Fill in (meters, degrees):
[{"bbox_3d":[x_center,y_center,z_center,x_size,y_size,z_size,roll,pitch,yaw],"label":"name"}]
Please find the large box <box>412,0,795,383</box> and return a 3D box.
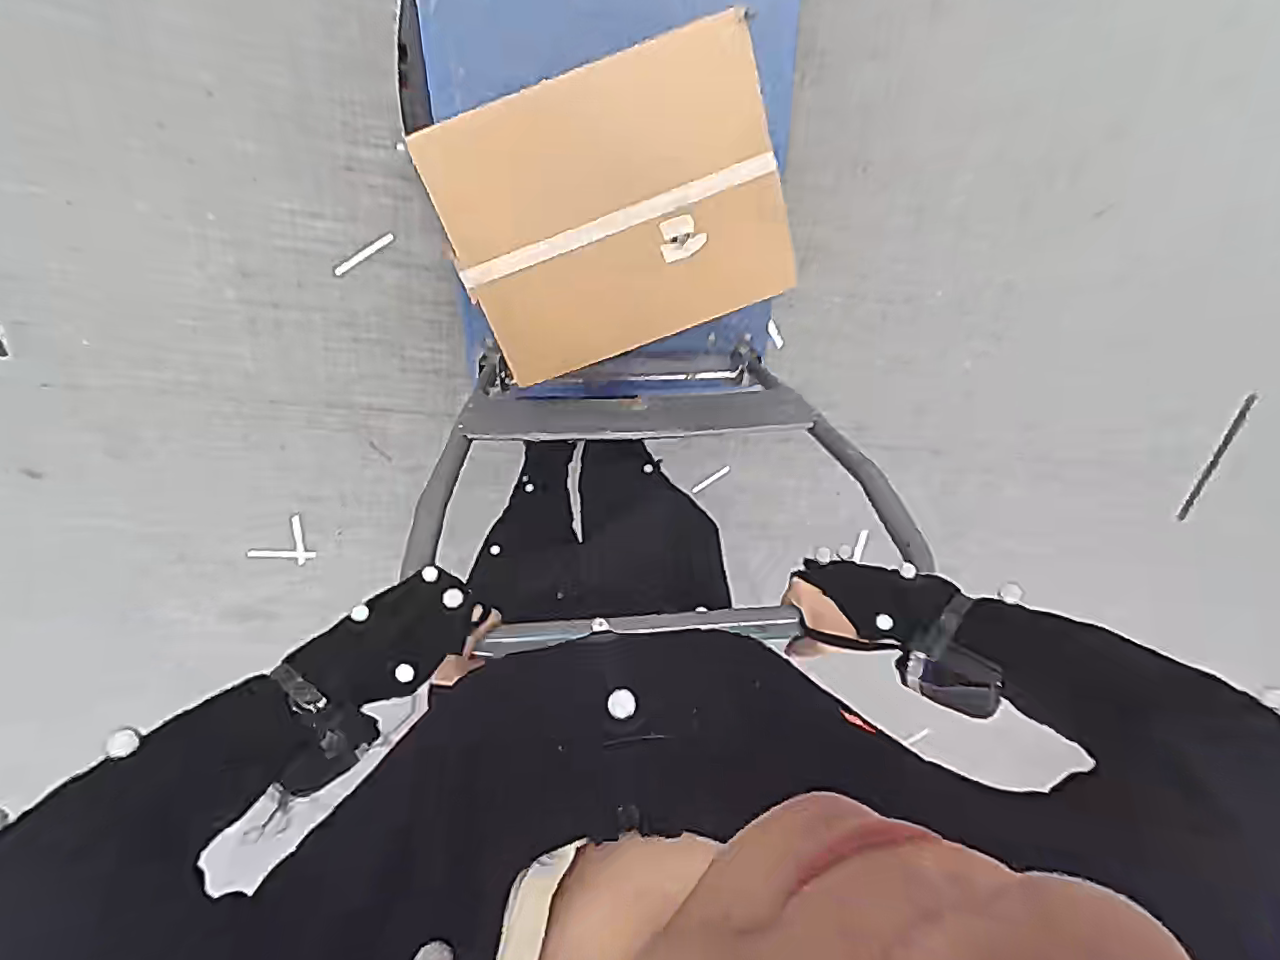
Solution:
[{"bbox_3d":[-0.046,-0.390,0.798,0.408,0.320,0.320,-21,117,1],"label":"large box"}]
